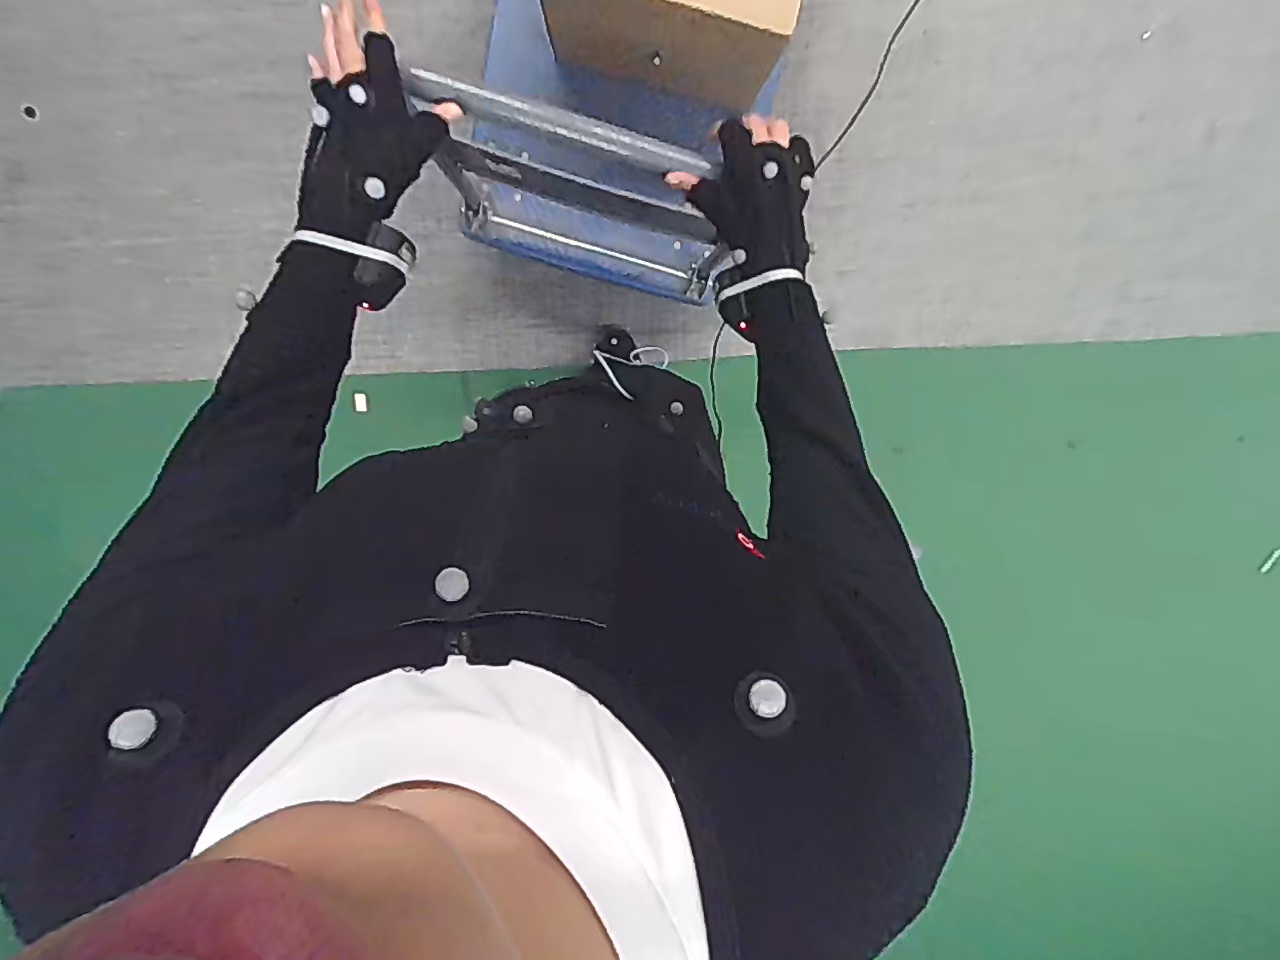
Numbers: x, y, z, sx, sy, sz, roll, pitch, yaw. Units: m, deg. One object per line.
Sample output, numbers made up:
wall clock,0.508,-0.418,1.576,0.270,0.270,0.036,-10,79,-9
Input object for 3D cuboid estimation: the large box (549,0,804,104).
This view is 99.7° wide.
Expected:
large box,0.073,-0.907,0.915,0.408,0.320,0.320,12,104,-5
